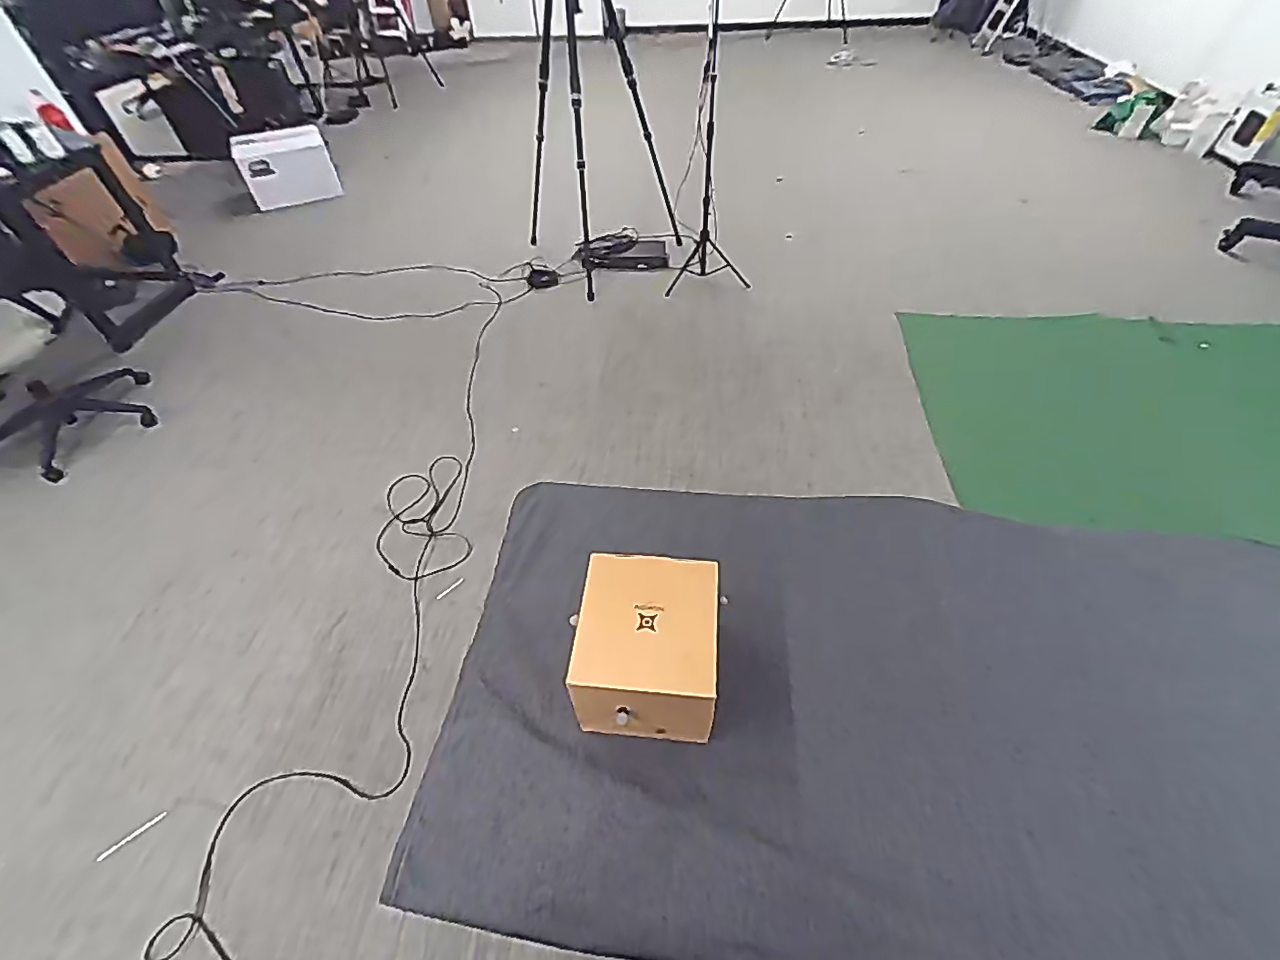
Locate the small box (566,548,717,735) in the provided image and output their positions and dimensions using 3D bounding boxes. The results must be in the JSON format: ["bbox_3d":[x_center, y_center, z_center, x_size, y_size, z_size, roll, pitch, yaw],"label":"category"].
[{"bbox_3d":[0.012,0.210,0.697,0.168,0.176,0.179,3,48,5],"label":"small box"}]
